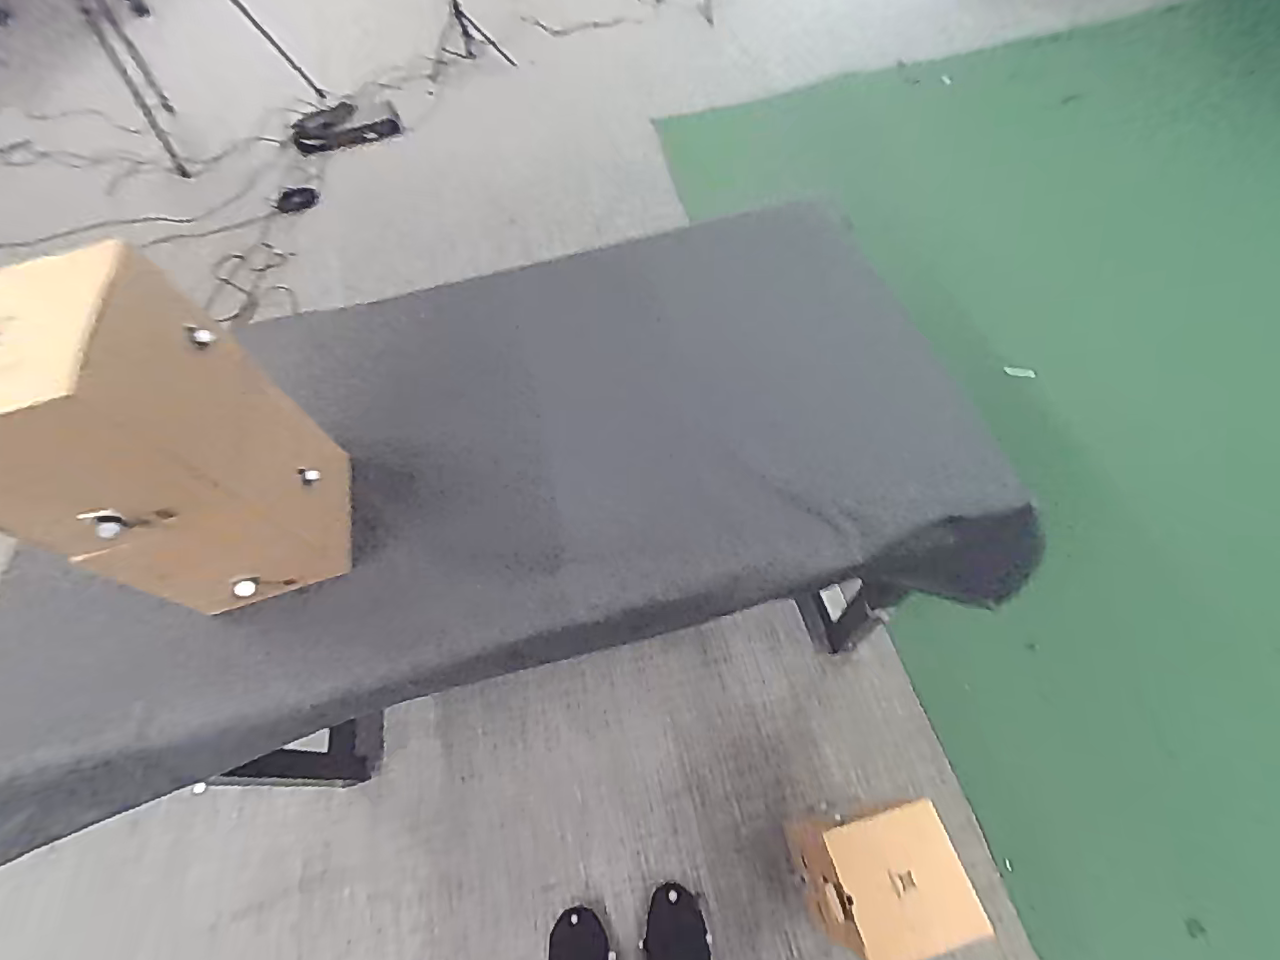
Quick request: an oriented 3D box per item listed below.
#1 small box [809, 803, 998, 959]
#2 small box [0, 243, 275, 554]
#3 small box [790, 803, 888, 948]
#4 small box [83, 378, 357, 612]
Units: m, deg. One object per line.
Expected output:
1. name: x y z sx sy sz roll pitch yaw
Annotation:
1. small box: 0.380 0.604 0.819 0.179 0.176 0.168 -16 59 -3
2. small box: -0.452 -0.063 0.466 0.168 0.176 0.179 -18 60 -3
3. small box: 0.378 0.692 0.960 0.179 0.176 0.168 -15 58 -2
4. small box: -0.440 0.022 0.604 0.168 0.176 0.179 -17 59 -4
